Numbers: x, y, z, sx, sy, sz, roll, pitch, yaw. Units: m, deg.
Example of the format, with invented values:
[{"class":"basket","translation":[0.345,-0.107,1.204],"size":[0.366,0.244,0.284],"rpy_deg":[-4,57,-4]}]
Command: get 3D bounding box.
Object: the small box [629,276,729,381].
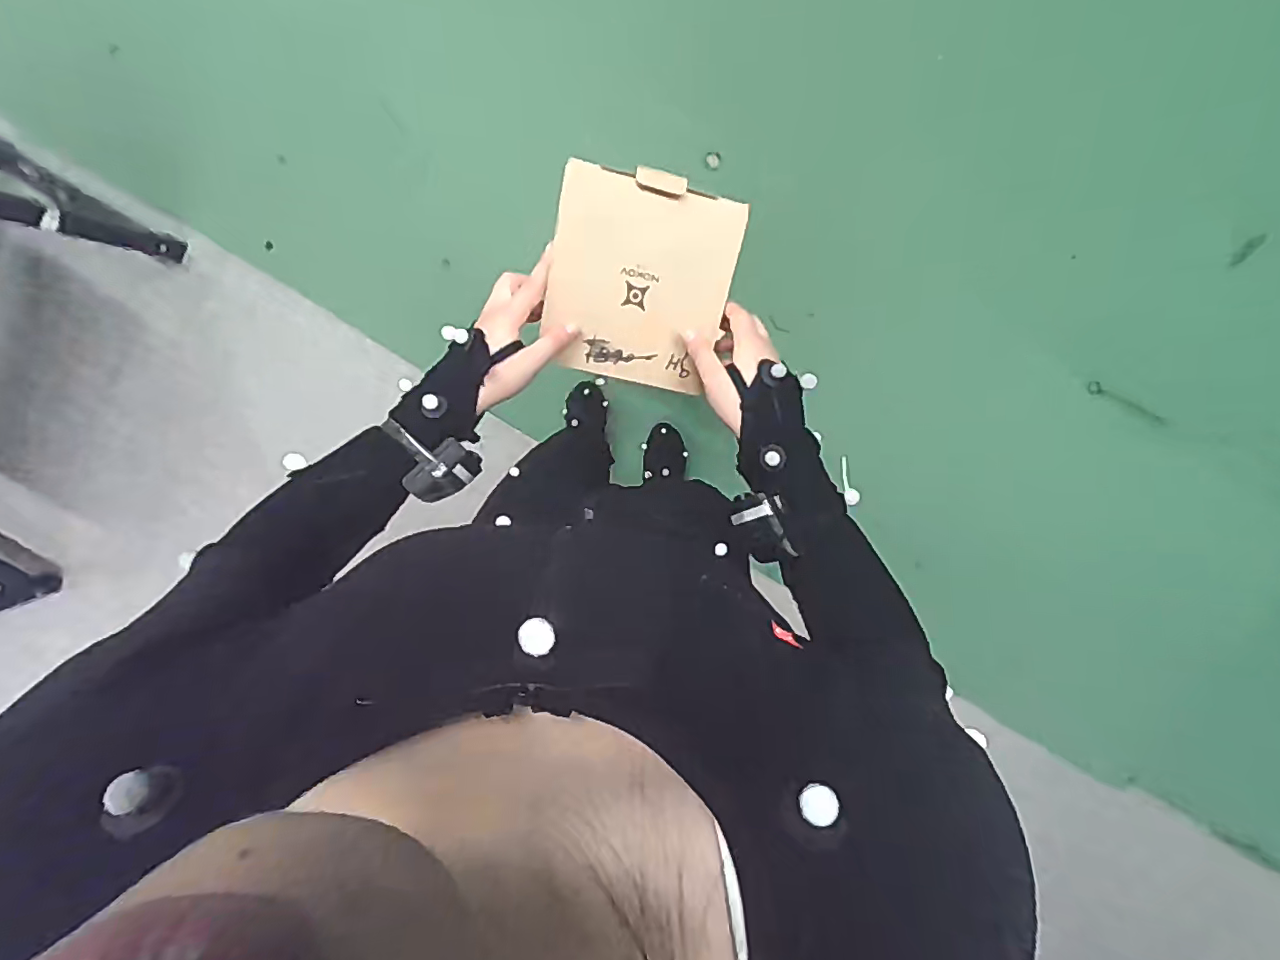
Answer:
[{"class":"small box","translation":[0.096,-0.360,1.317],"size":[0.168,0.176,0.179],"rpy_deg":[39,101,-4]}]
